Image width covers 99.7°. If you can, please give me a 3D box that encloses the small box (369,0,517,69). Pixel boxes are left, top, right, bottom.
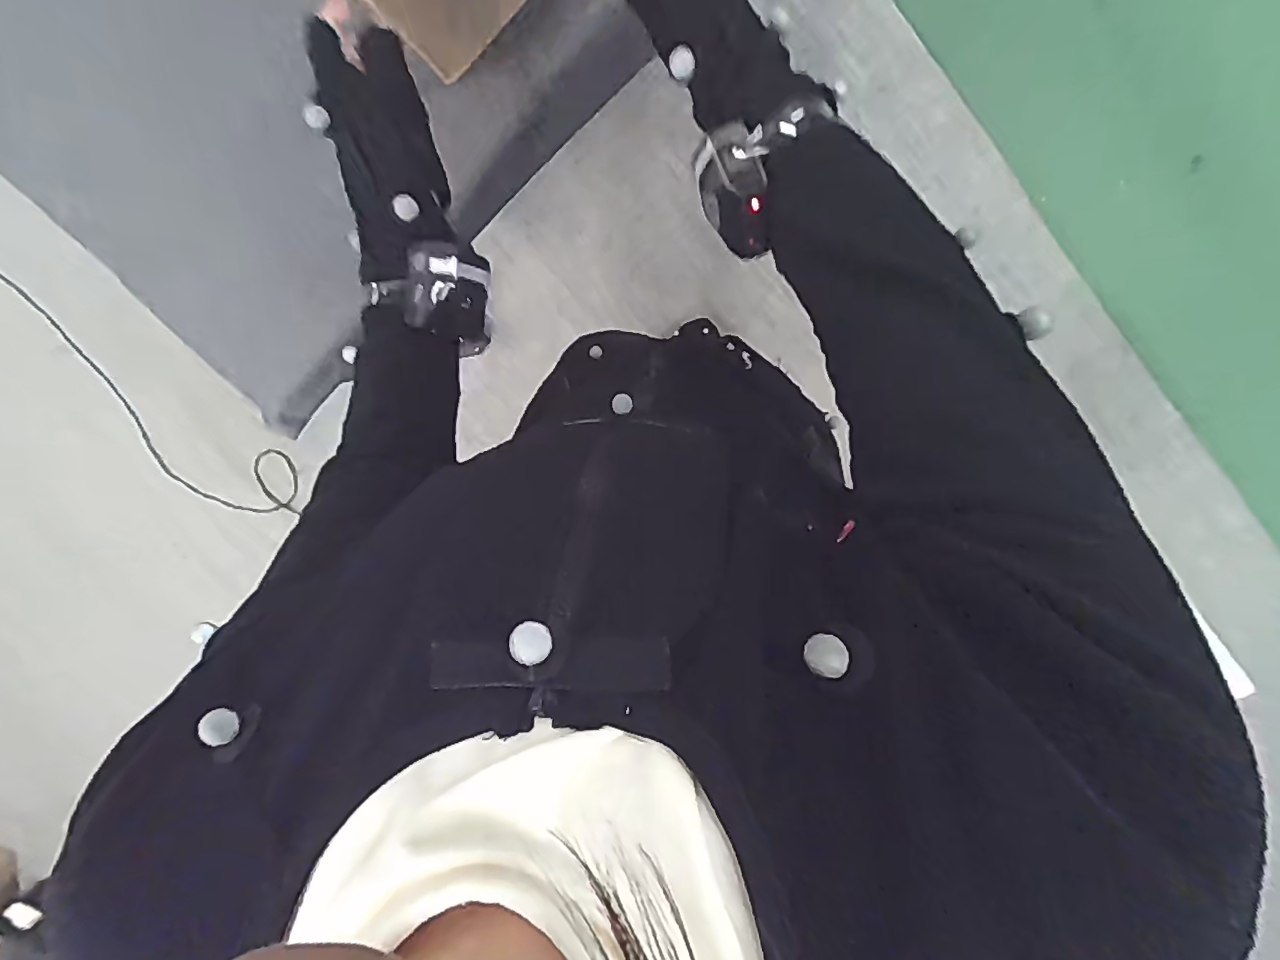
[{"bbox_3d":[-0.195,-0.510,0.459,0.179,0.176,0.168,-38,99,16],"label":"small box"}]
